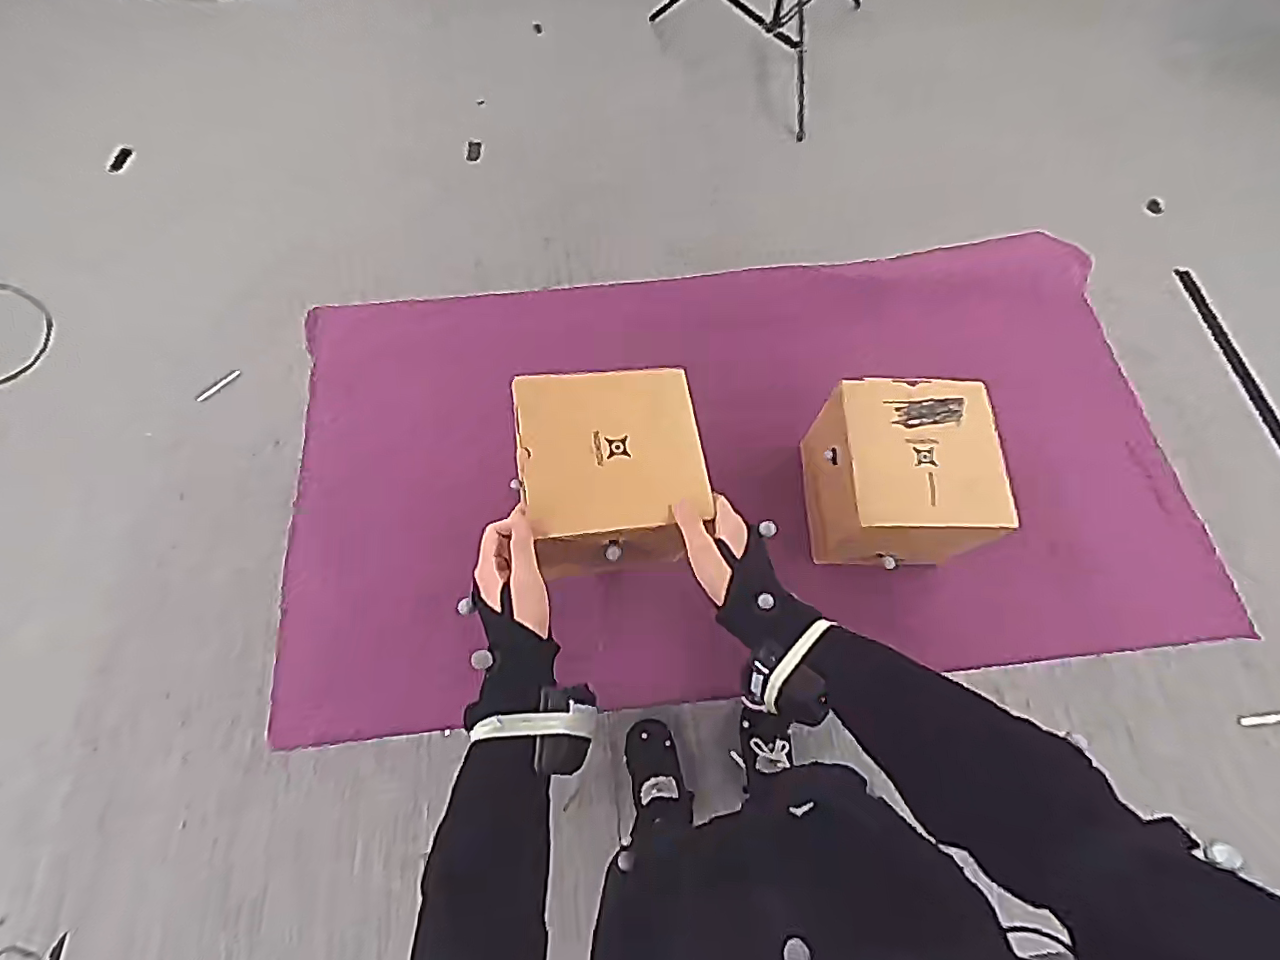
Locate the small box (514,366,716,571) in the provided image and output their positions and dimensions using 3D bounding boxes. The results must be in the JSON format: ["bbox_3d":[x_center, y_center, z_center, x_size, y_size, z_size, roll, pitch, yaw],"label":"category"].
[{"bbox_3d":[-0.038,-0.005,0.580,0.179,0.176,0.168,-6,71,-12],"label":"small box"}]

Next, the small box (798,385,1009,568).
[{"bbox_3d":[0.302,0.002,0.666,0.168,0.176,0.179,0,68,0],"label":"small box"}]
